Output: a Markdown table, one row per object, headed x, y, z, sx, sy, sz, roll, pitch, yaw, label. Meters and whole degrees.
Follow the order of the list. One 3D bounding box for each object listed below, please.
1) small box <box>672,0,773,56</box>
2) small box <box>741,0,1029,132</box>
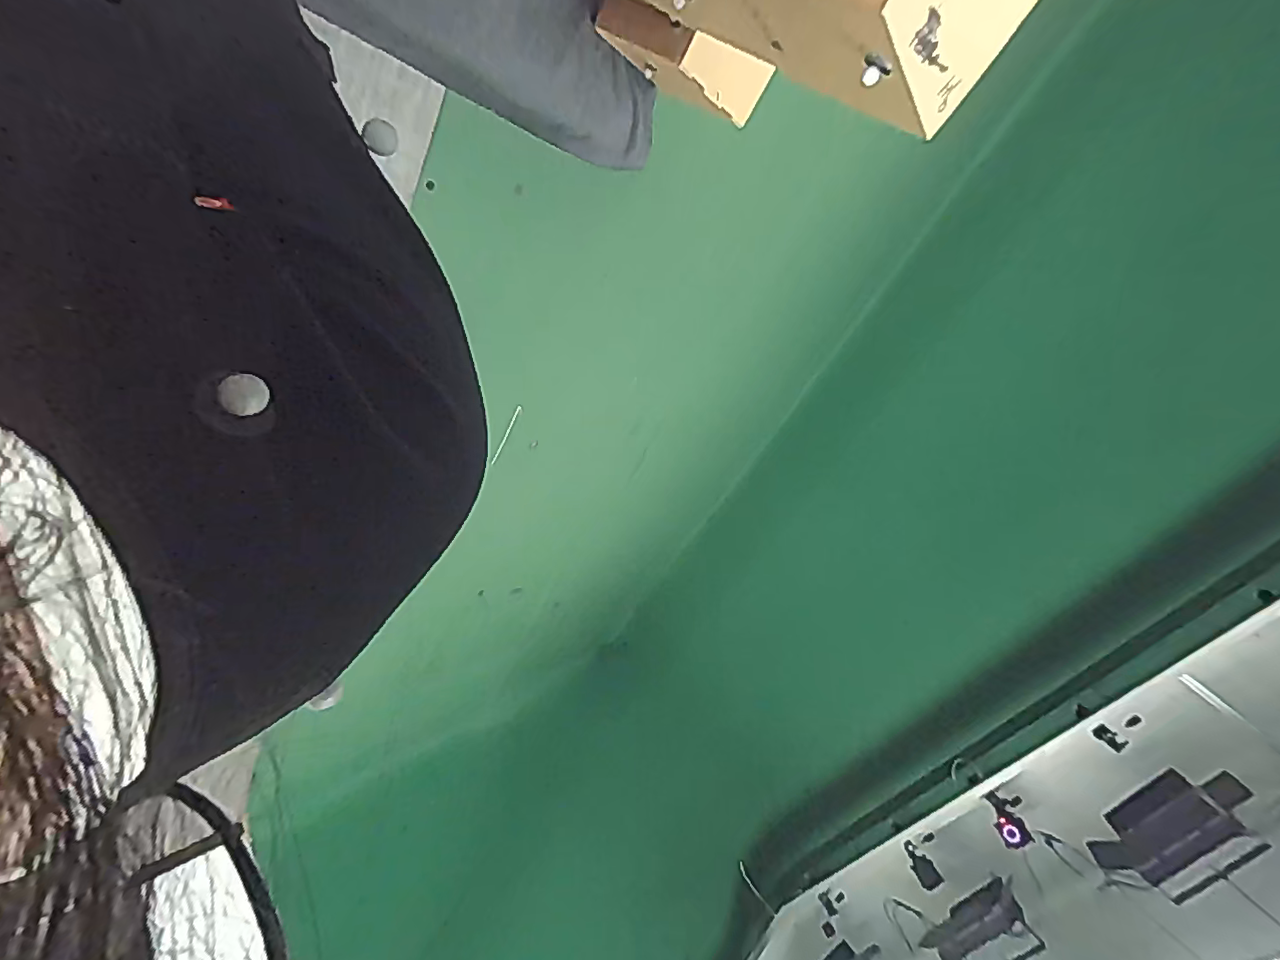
| x | y | z | sx | sy | sz | roll | pitch | yaw | label |
| --- | --- | --- | --- | --- | --- | --- | --- | --- | --- |
| 0.090 | -0.516 | 0.459 | 0.168 | 0.176 | 0.179 | -4 | 135 | -52 | small box |
| 0.188 | -0.405 | 0.387 | 0.168 | 0.176 | 0.179 | -1 | 132 | -53 | small box |
